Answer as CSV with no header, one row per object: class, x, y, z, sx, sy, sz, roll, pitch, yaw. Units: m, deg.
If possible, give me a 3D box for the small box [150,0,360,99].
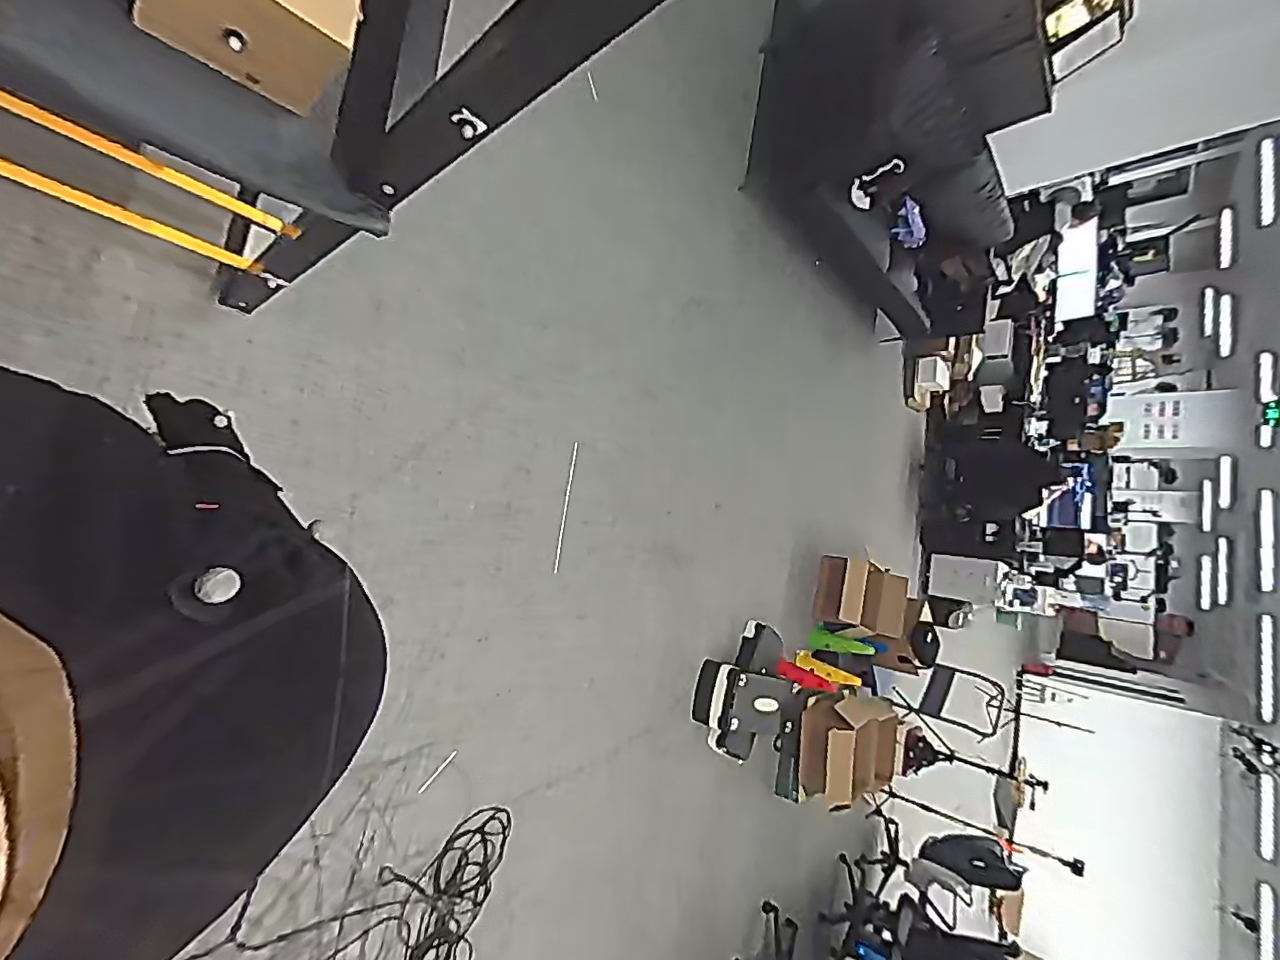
small box,-0.413,-0.568,0.585,0.168,0.176,0.179,11,84,-48
